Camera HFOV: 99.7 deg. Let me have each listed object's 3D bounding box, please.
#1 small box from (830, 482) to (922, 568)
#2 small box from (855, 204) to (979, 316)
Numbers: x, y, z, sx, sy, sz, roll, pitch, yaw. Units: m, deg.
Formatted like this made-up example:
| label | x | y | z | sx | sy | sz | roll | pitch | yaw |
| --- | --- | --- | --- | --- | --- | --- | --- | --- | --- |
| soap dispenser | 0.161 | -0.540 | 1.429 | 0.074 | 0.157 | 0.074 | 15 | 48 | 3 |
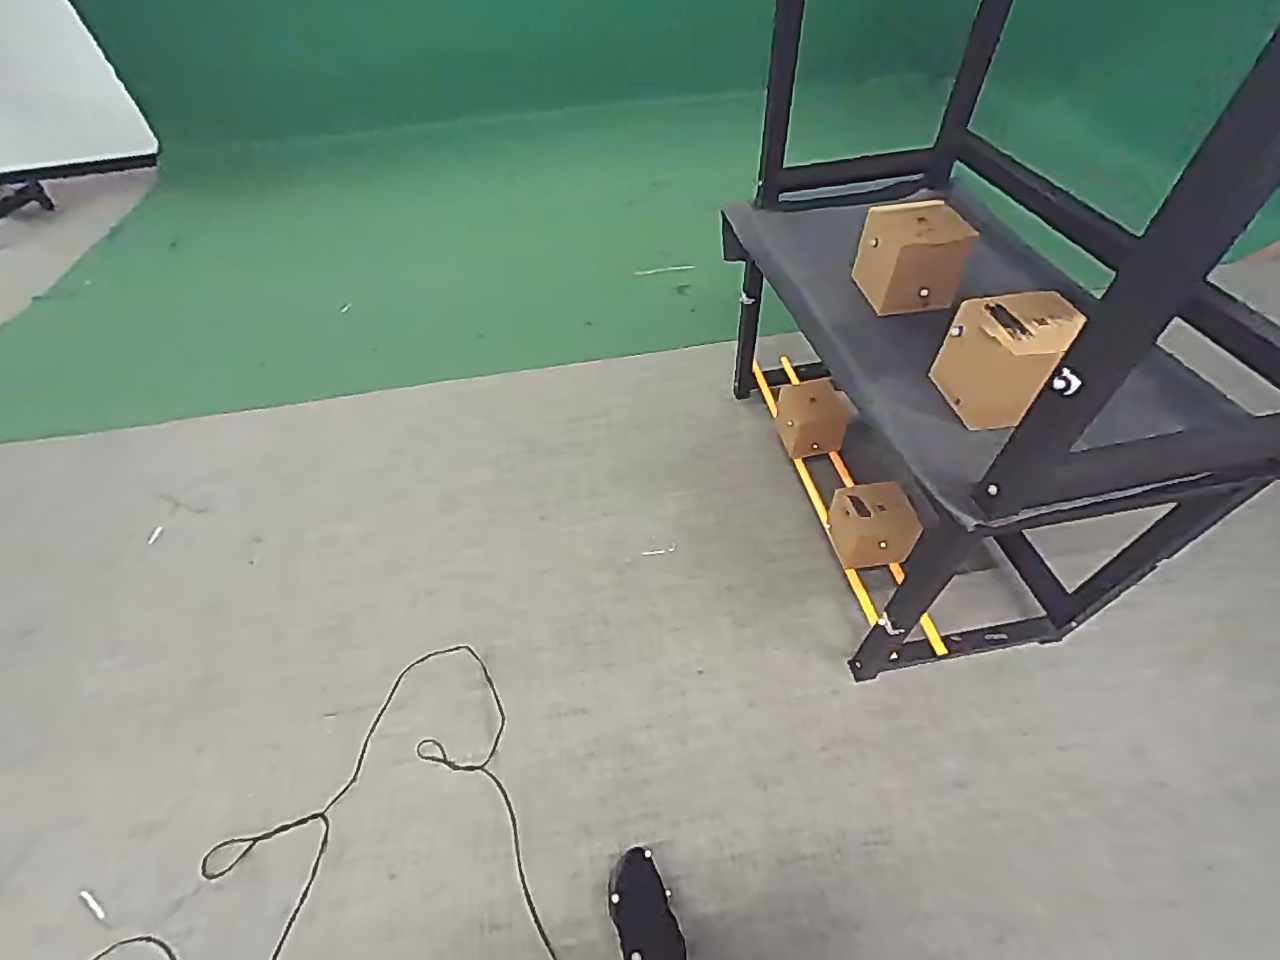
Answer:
| label | x | y | z | sx | sy | sz | roll | pitch | yaw |
| --- | --- | --- | --- | --- | --- | --- | --- | --- | --- |
| small box | 0.642 | 0.129 | 1.503 | 0.179 | 0.176 | 0.168 | -7 | 50 | -1 |
| small box | 0.604 | -0.492 | 1.211 | 0.168 | 0.176 | 0.179 | -7 | 50 | -1 |
